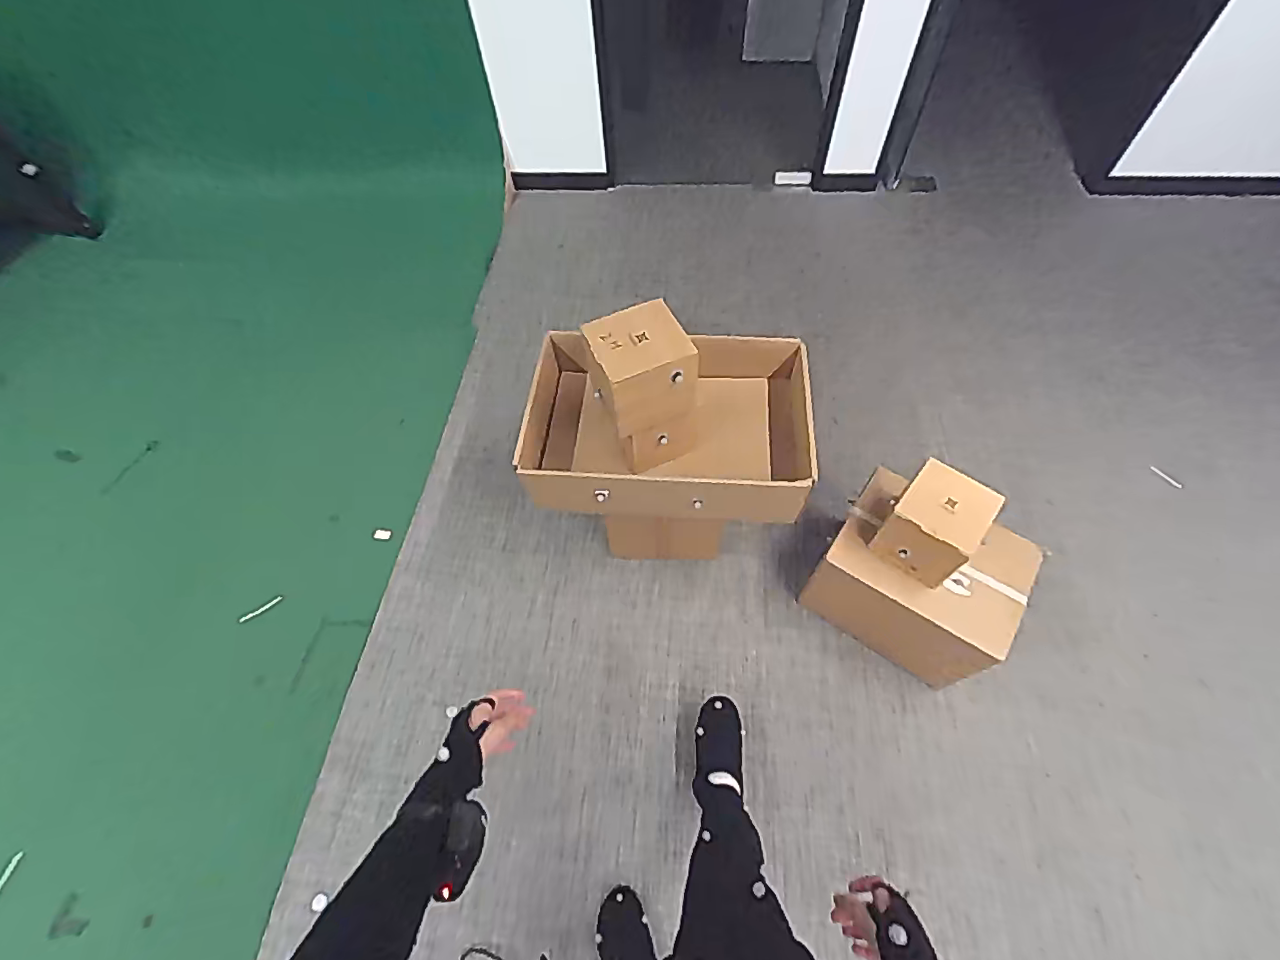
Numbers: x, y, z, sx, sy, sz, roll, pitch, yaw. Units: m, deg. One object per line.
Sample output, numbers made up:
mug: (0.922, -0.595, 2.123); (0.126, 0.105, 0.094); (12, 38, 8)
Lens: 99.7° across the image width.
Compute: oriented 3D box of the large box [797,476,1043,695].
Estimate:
large box: (0.668, 0.264, 1.348); (0.408, 0.320, 0.320); (31, 65, 19)

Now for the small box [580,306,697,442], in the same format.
small box: (-0.003, -0.205, 1.069); (0.179, 0.176, 0.168); (-22, 59, -9)

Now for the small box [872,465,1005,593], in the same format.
small box: (0.629, 0.108, 1.160); (0.168, 0.176, 0.179); (35, 65, 21)
